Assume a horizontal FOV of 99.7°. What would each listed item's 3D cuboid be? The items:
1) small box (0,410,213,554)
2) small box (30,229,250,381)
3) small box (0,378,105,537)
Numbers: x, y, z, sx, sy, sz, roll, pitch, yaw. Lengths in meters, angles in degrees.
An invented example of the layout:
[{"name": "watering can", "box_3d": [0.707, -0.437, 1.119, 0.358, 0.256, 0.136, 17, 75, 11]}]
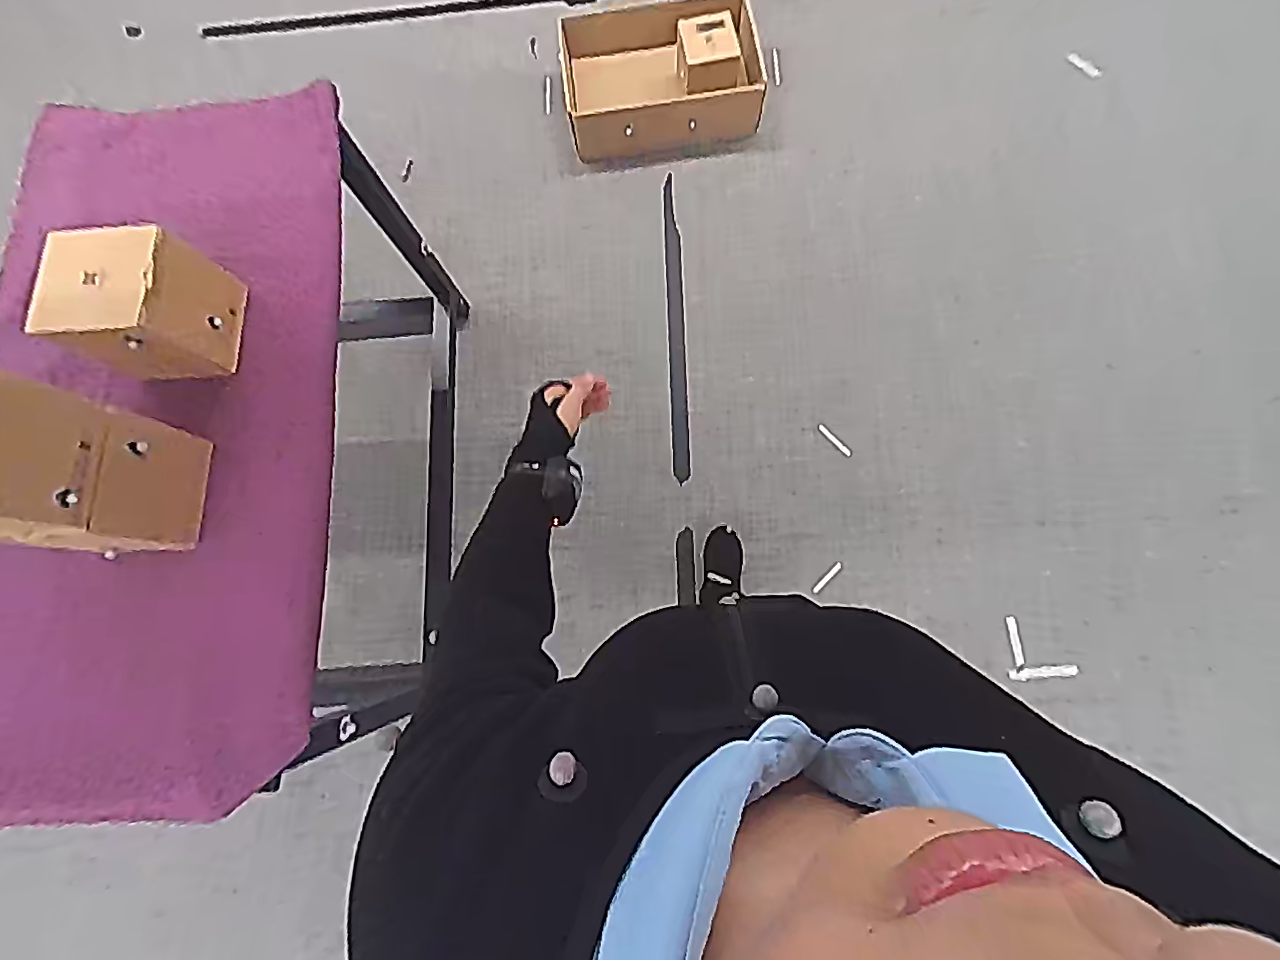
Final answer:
[{"name": "small box", "box_3d": [-0.772, 0.010, 0.787, 0.168, 0.176, 0.179, -2, 77, 4]}, {"name": "small box", "box_3d": [-0.768, -0.265, 0.851, 0.179, 0.176, 0.168, -3, 77, 4]}, {"name": "small box", "box_3d": [-0.791, -0.027, 0.628, 0.179, 0.176, 0.168, -4, 76, 3]}]
